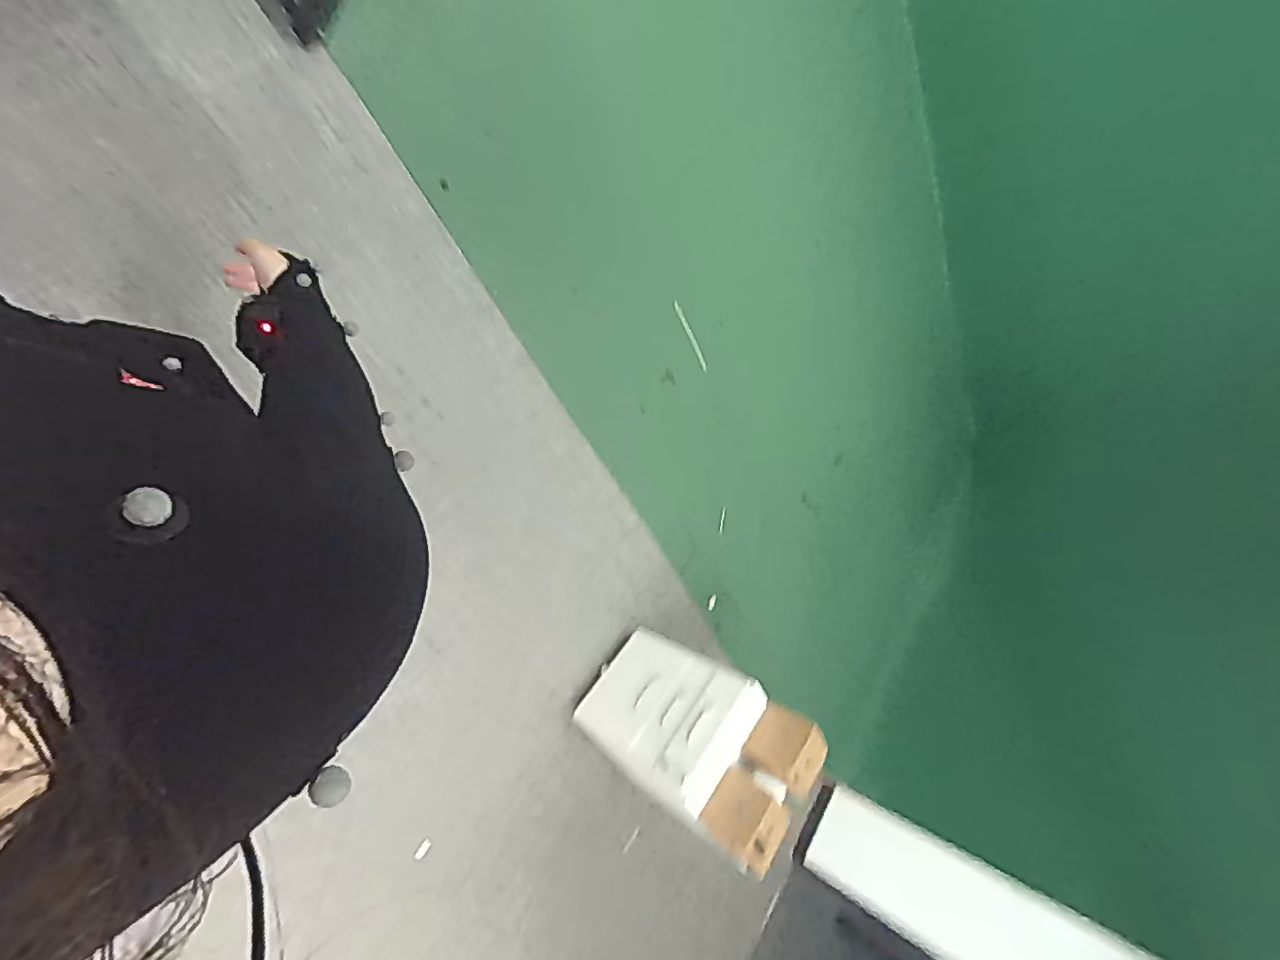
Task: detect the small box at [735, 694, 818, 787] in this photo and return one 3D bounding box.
[{"bbox_3d":[0.428,0.811,1.701,0.179,0.176,0.168,-49,126,-26],"label":"small box"}]
